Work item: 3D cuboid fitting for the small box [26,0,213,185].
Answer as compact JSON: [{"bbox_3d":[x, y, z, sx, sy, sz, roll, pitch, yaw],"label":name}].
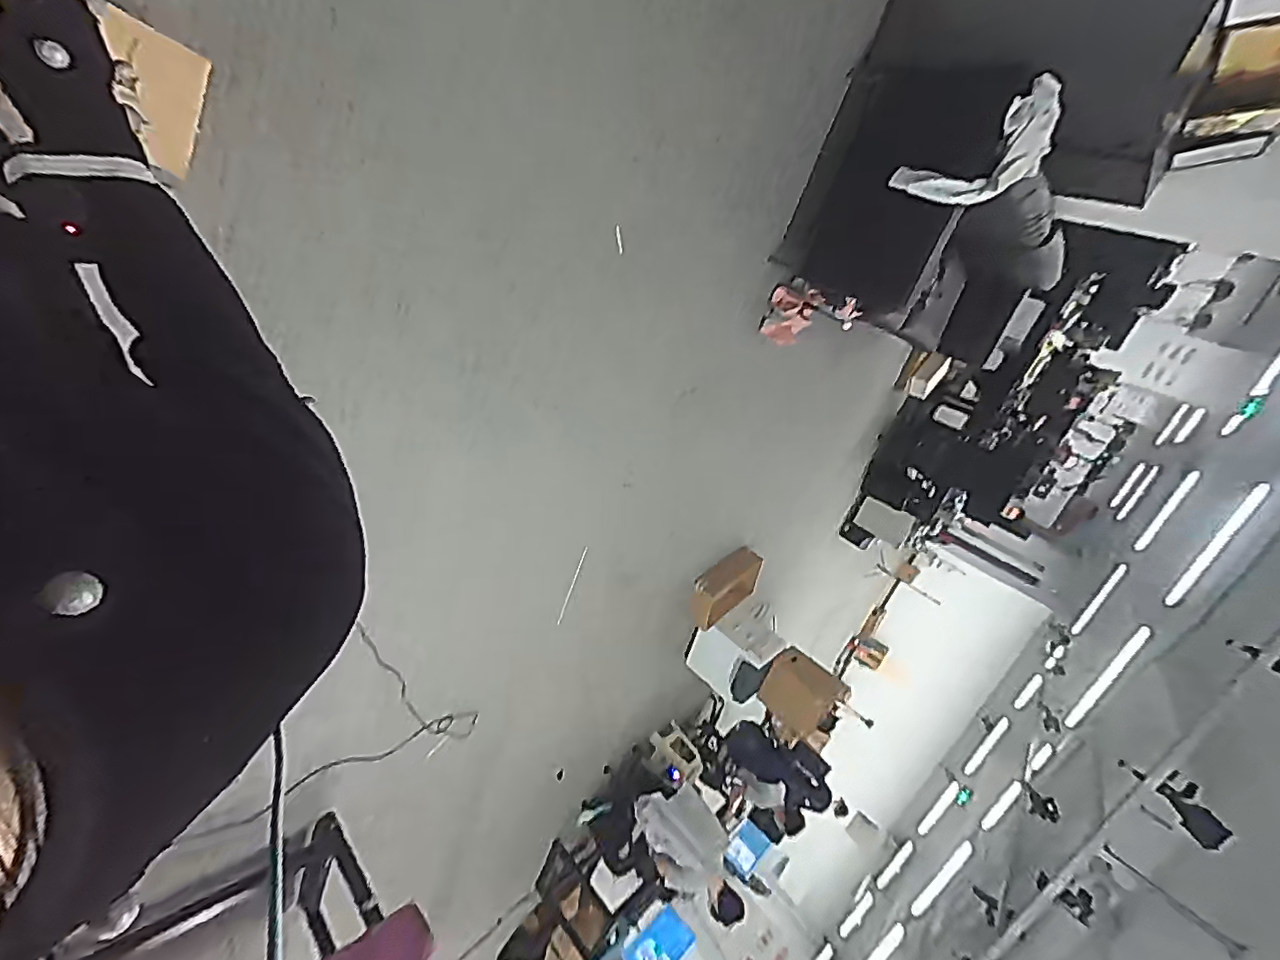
[{"bbox_3d":[-0.766,-0.574,0.794,0.168,0.176,0.179,6,114,-54],"label":"small box"}]
